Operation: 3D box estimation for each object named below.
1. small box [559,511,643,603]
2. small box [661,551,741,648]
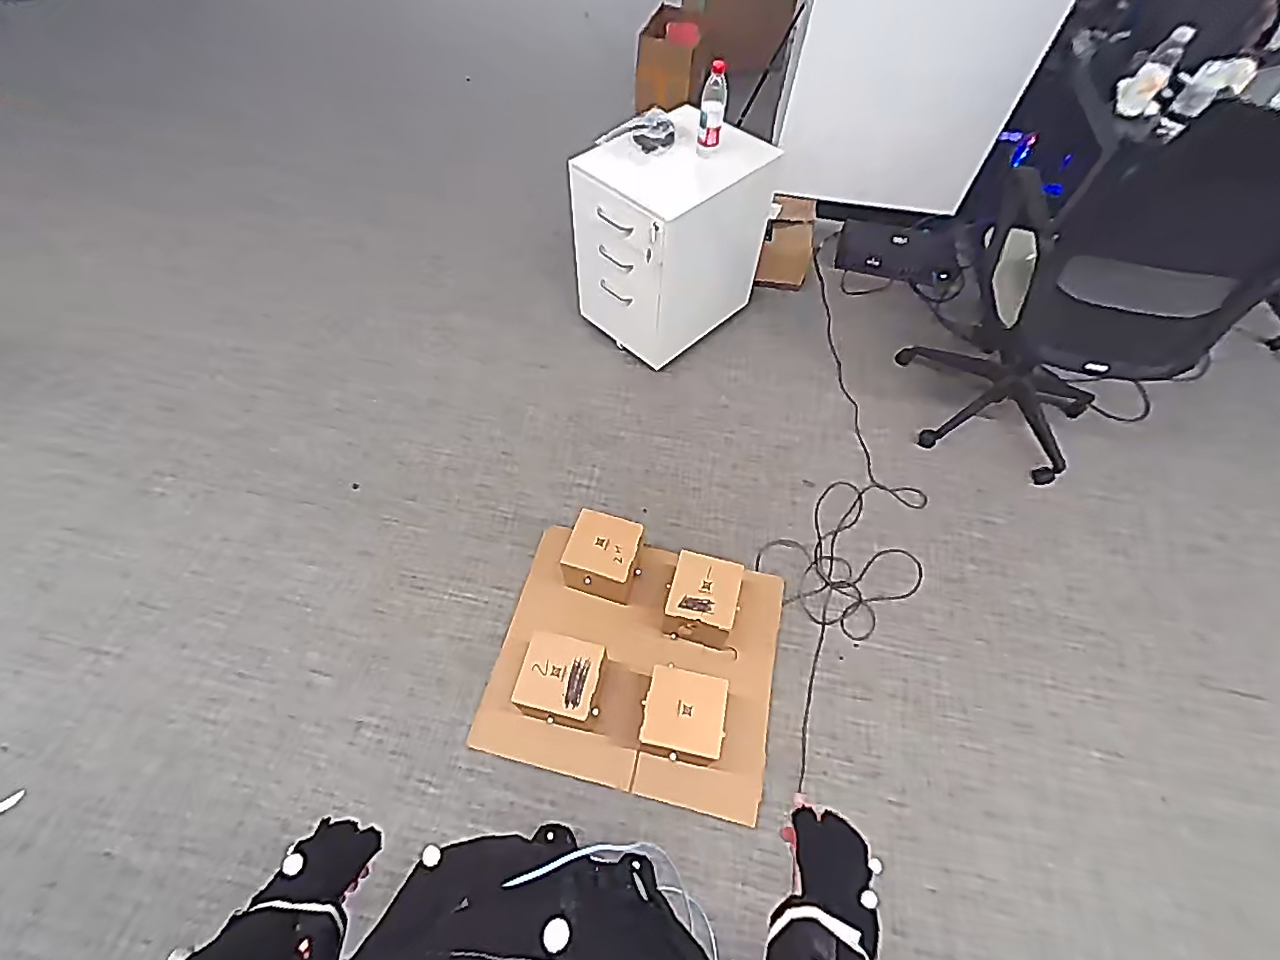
[{"bbox_3d":[-0.099,0.211,1.451,0.179,0.176,0.168,16,60,8],"label":"small box"},{"bbox_3d":[0.156,0.314,1.397,0.168,0.176,0.179,14,58,9],"label":"small box"}]
